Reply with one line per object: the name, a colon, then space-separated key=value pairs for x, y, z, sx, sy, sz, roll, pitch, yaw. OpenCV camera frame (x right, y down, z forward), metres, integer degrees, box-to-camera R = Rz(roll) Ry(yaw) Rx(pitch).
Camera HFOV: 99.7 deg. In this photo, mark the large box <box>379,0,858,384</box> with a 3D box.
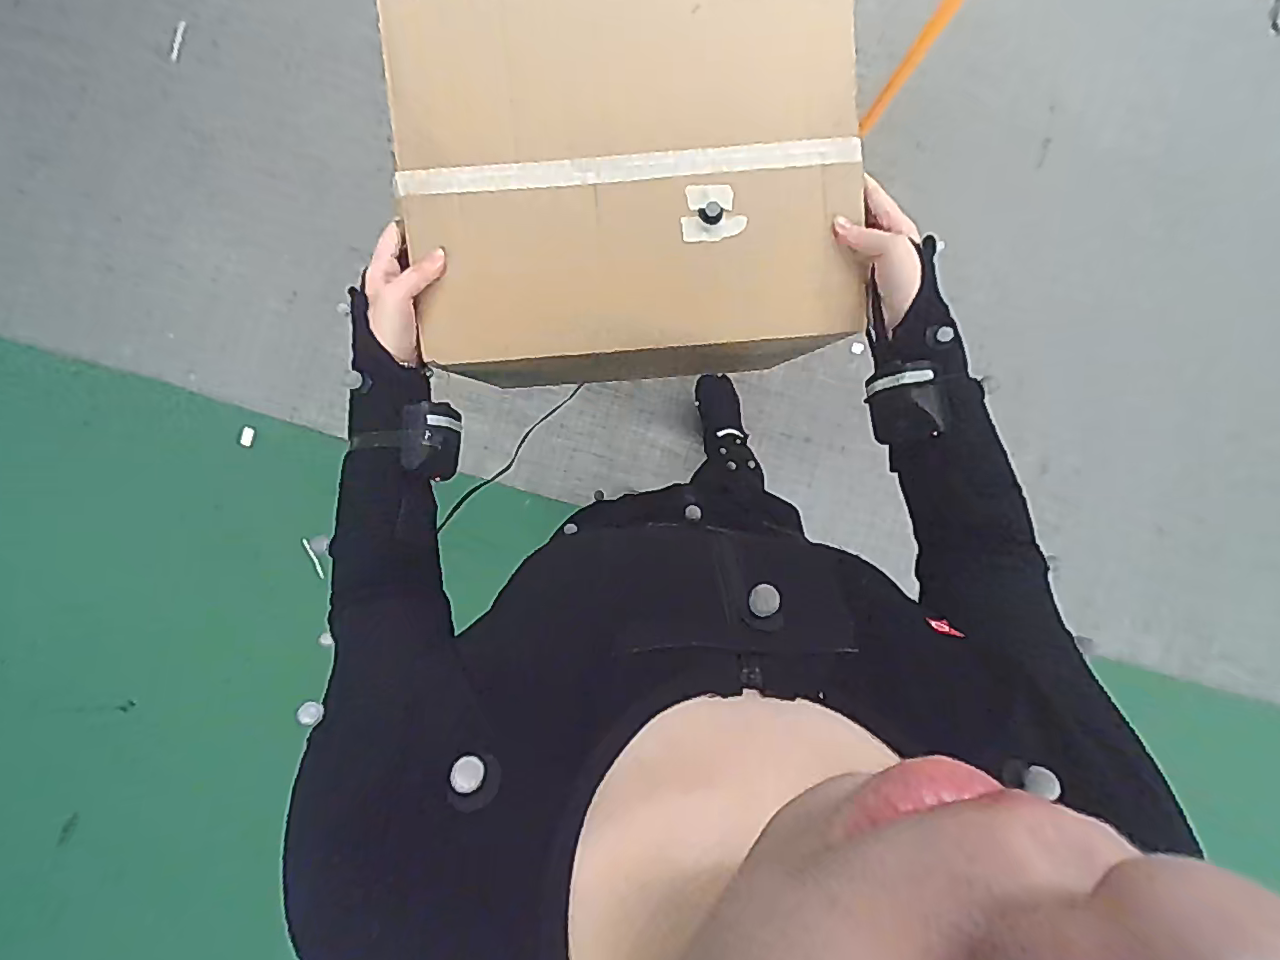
large box: x=-0.019 y=-0.299 z=0.627 sx=0.408 sy=0.320 sz=0.320 roll=-6 pitch=97 yaw=-3
